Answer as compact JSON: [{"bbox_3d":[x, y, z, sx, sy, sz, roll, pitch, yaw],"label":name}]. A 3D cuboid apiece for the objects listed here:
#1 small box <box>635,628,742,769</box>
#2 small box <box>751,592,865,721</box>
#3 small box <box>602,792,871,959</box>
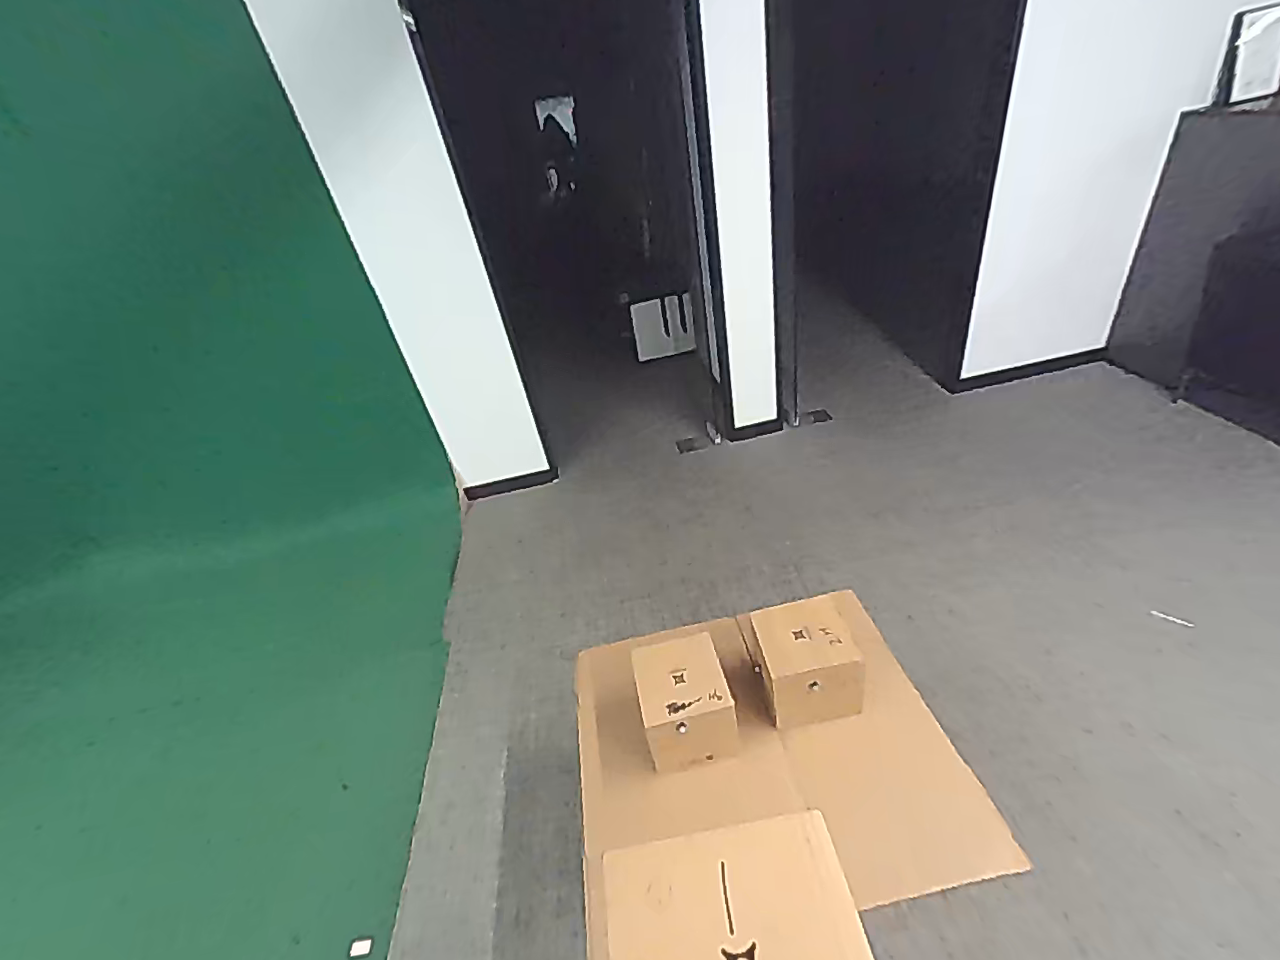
[{"bbox_3d":[0.094,0.429,1.065,0.168,0.176,0.179,-14,33,-1],"label":"small box"},{"bbox_3d":[0.336,0.358,1.090,0.179,0.176,0.168,-13,34,3],"label":"small box"},{"bbox_3d":[0.073,0.362,0.390,0.168,0.176,0.179,-11,40,-1],"label":"small box"}]
